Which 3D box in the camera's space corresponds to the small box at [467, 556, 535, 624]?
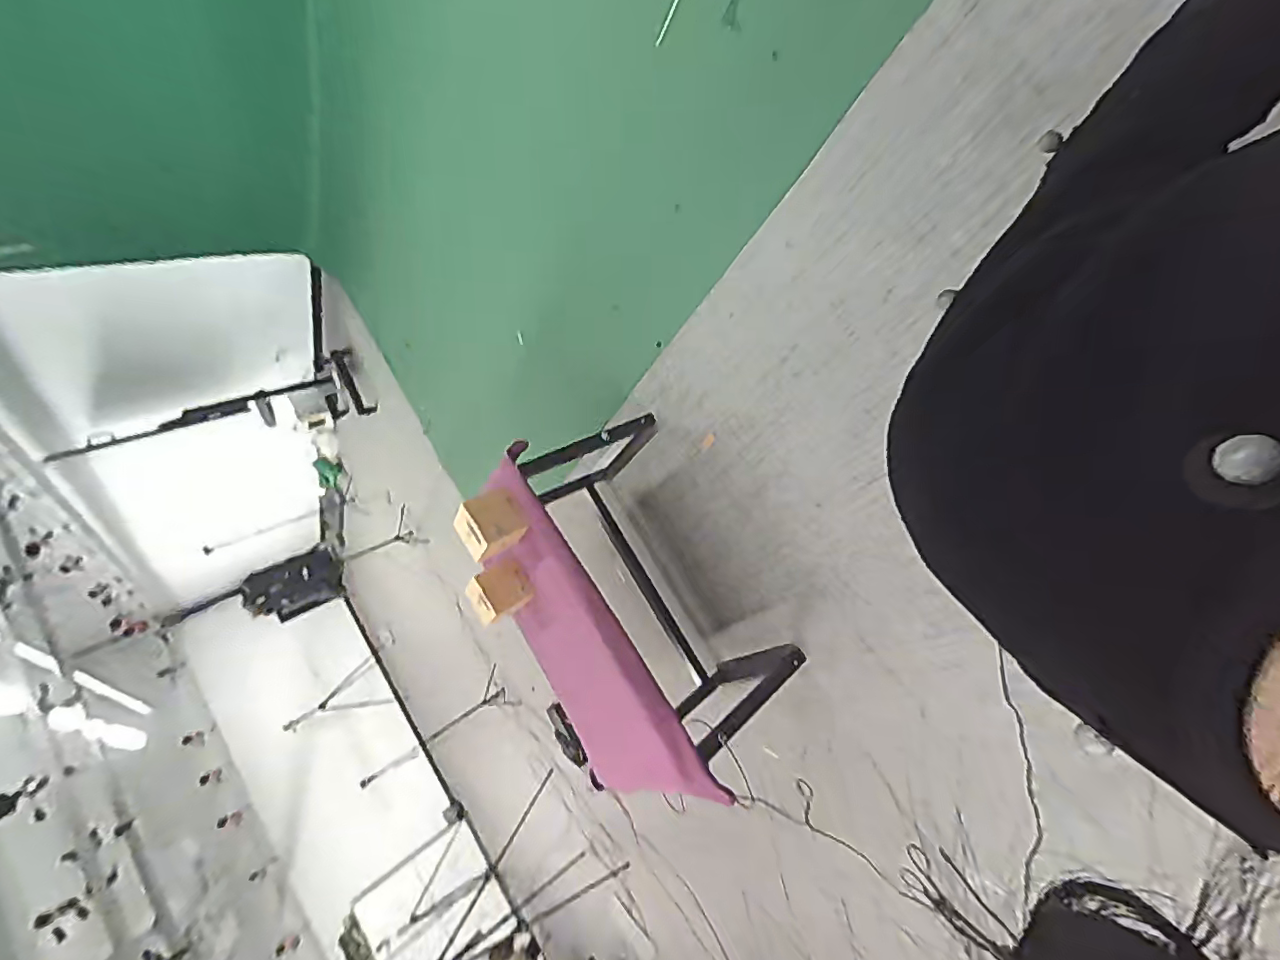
[{"bbox_3d":[-0.515,0.406,2.011,0.168,0.176,0.179,57,142,10],"label":"small box"}]
